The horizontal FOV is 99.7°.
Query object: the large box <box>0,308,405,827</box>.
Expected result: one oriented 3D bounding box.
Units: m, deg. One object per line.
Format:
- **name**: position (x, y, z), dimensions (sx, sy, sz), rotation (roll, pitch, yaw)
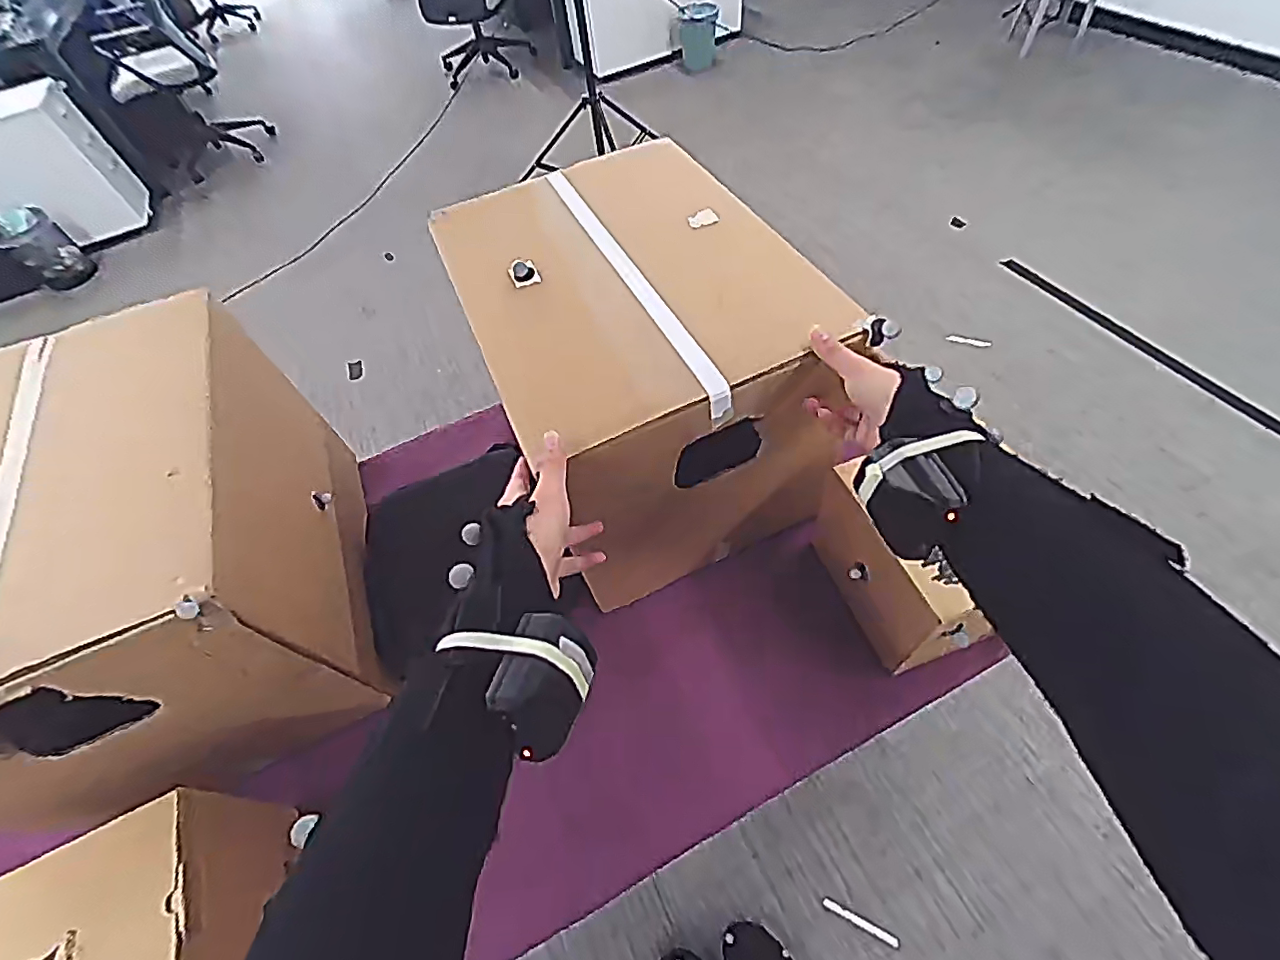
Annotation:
- **large box**: position (-0.509, 0.093, 0.593), dimensions (0.320, 0.320, 0.408), rotation (-25, 59, -9)
